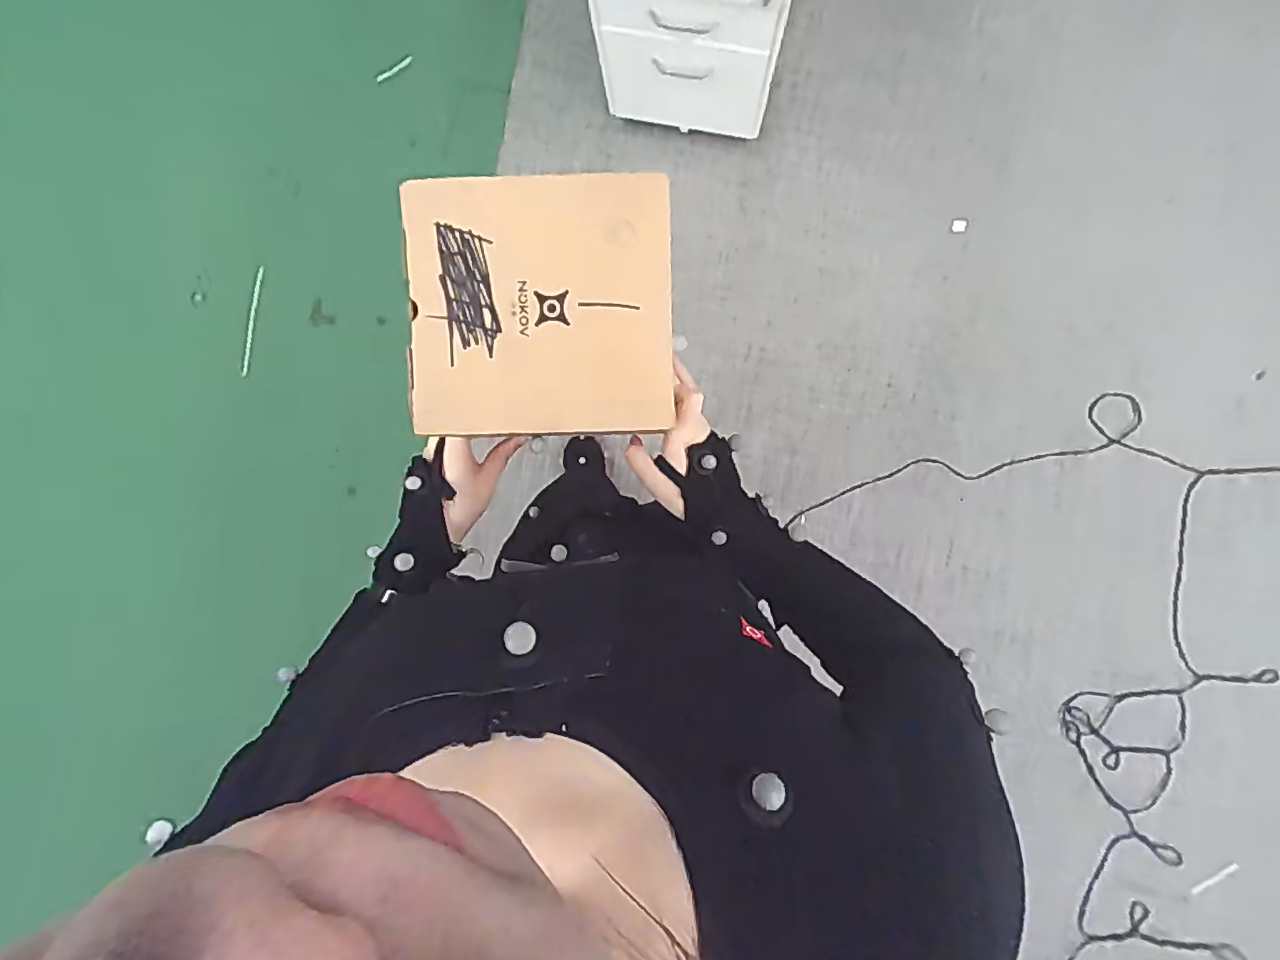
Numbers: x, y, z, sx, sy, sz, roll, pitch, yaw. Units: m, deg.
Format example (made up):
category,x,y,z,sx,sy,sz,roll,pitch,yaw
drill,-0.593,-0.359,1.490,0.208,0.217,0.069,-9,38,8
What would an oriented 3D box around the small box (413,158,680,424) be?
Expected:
category,x,y,z,sx,sy,sz,roll,pitch,yaw
small box,-0.061,-0.131,0.434,0.179,0.176,0.168,0,94,0
